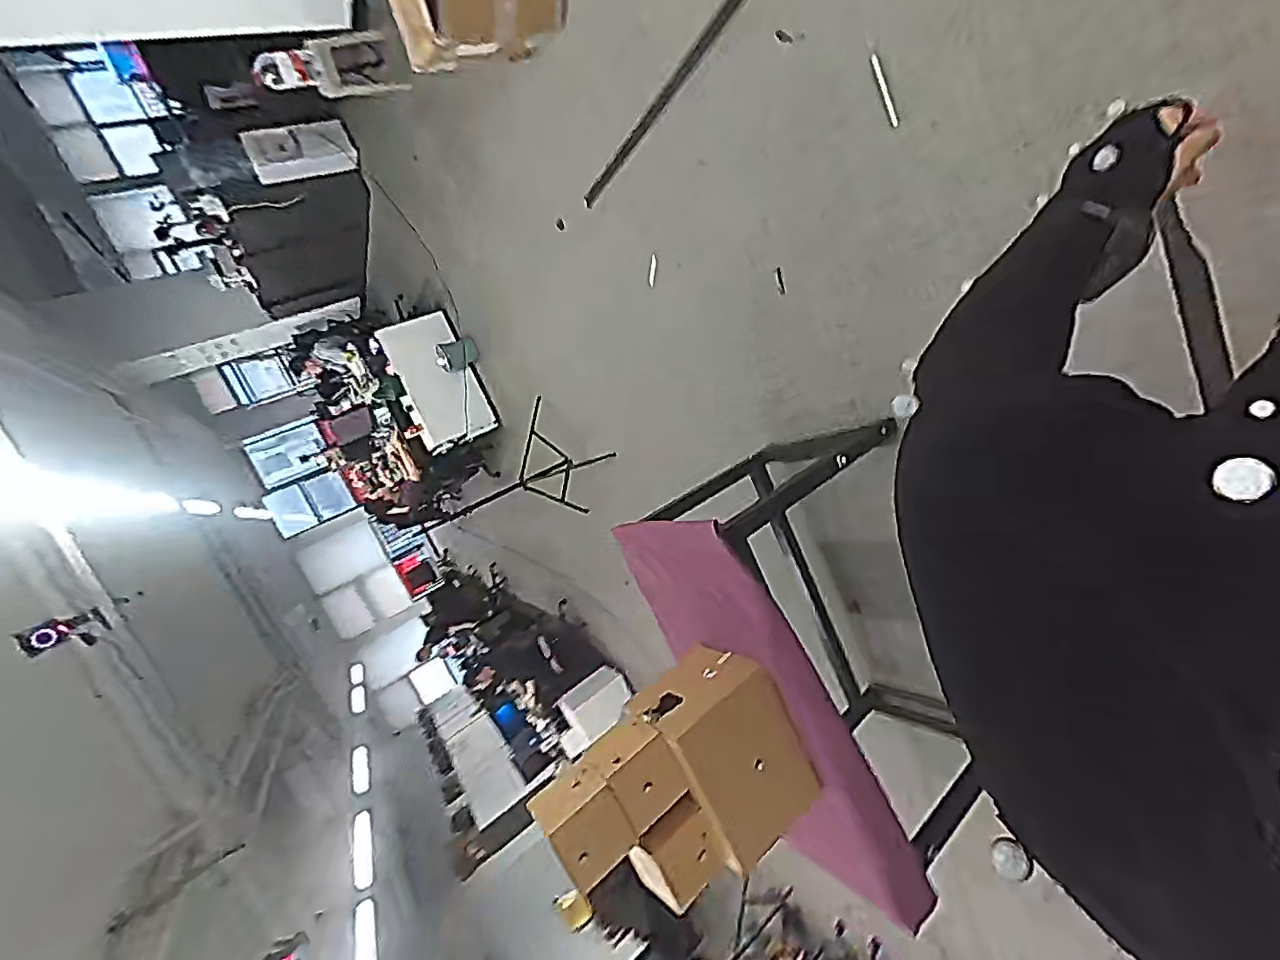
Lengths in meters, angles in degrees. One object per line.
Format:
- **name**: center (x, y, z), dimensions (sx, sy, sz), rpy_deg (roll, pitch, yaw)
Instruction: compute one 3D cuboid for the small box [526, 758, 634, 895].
- **small box**: center (-0.140, 0.814, 1.288), dimensions (0.168, 0.176, 0.179), rpy_deg (-9, 109, 62)
